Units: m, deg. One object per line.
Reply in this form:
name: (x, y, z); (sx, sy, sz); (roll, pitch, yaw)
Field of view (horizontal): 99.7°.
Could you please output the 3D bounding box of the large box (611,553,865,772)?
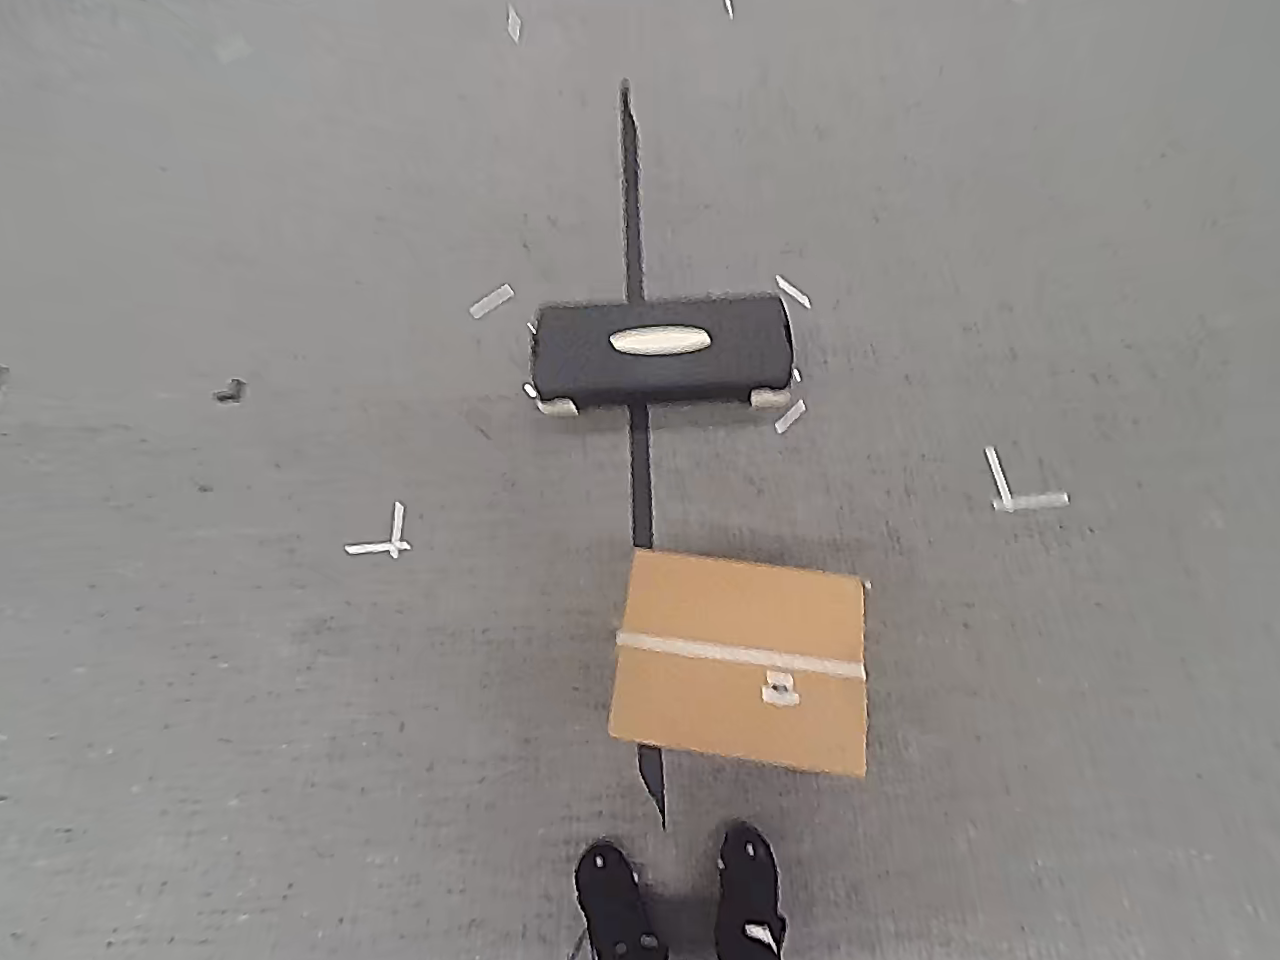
large box: (0.169, 0.344, 1.035); (0.408, 0.320, 0.320); (6, 70, 4)
